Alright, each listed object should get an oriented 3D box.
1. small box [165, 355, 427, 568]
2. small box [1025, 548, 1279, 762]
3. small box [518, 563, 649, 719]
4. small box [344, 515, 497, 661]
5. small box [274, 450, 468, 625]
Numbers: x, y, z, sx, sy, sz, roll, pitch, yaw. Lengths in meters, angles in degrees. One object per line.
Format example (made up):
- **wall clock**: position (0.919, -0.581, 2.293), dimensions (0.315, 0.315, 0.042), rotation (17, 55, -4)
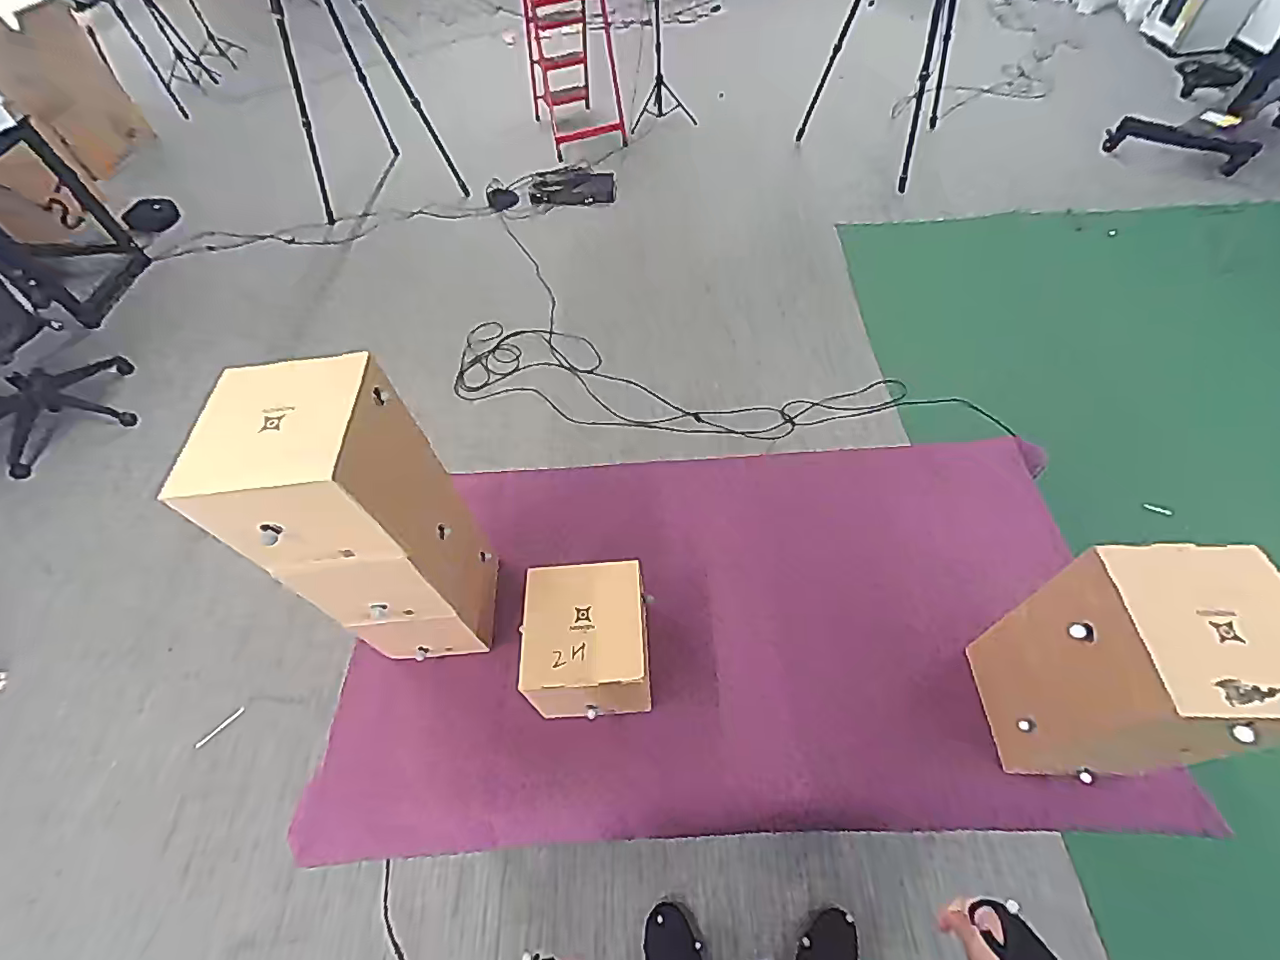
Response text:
- **small box**: position (-0.361, -0.012, 0.612), dimensions (0.168, 0.176, 0.179), rotation (-7, 54, 1)
- **small box**: position (0.564, 0.190, 0.585), dimensions (0.168, 0.176, 0.179), rotation (-1, 53, 6)
- **small box**: position (-0.074, 0.243, 0.808), dimensions (0.168, 0.176, 0.179), rotation (-4, 55, 2)
- **small box**: position (-0.339, 0.177, 0.877), dimensions (0.168, 0.176, 0.179), rotation (-5, 55, 1)
- **small box**: position (-0.349, 0.082, 0.744), dimensions (0.168, 0.176, 0.179), rotation (-6, 55, 1)
